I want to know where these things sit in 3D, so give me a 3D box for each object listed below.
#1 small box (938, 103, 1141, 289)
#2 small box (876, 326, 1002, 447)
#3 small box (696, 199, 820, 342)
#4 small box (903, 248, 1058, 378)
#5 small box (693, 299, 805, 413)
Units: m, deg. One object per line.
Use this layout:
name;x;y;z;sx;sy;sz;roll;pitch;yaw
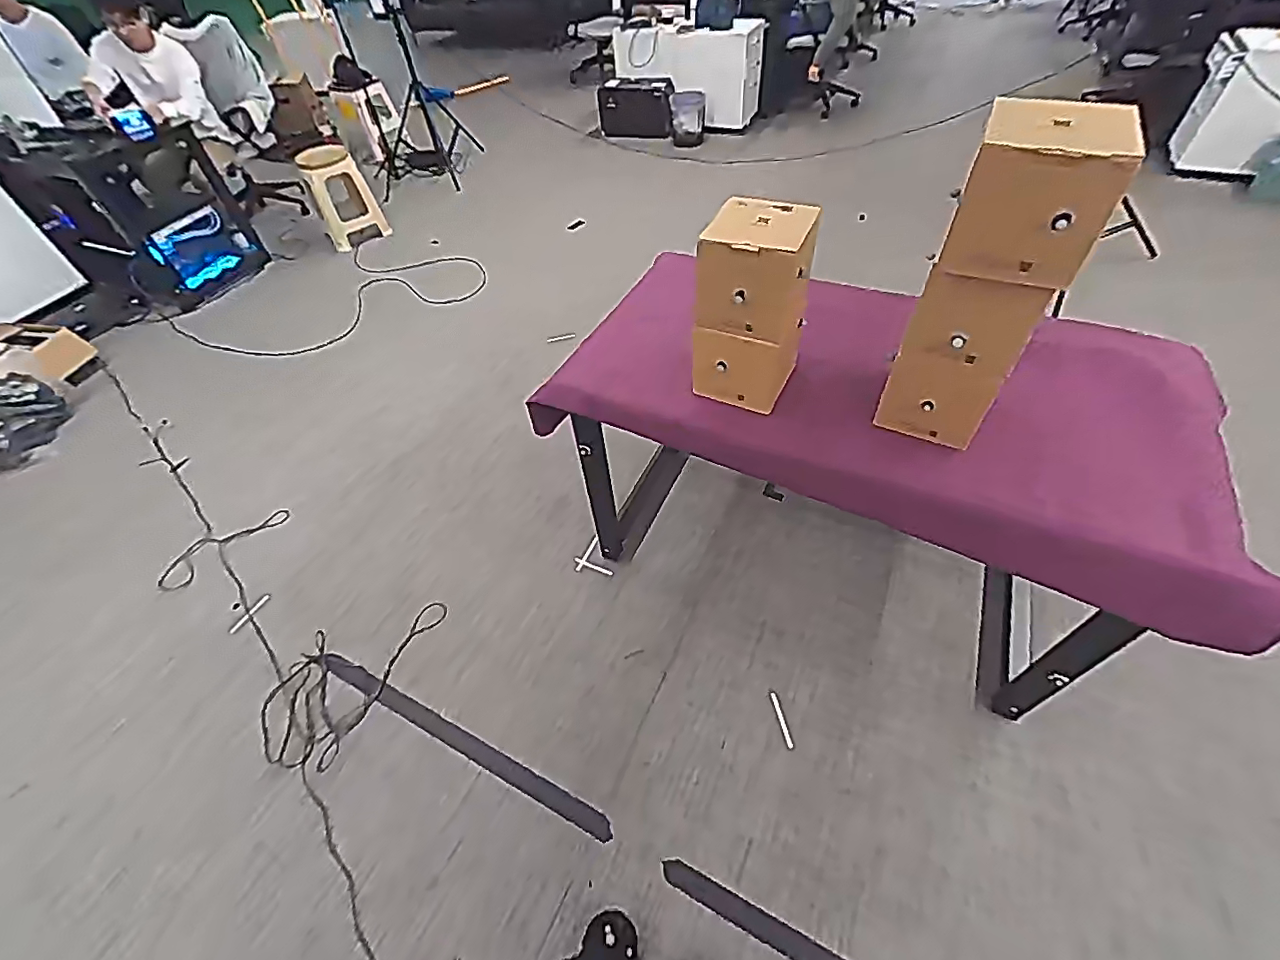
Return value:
small box;0.527;-0.384;0.734;0.168;0.176;0.179;19;53;19
small box;0.552;-0.188;0.994;0.168;0.176;0.179;22;54;21
small box;0.208;-0.372;0.966;0.168;0.176;0.179;18;53;18
small box;0.546;-0.295;0.870;0.168;0.176;0.179;21;55;21
small box;0.216;-0.261;1.086;0.168;0.176;0.179;20;53;20
